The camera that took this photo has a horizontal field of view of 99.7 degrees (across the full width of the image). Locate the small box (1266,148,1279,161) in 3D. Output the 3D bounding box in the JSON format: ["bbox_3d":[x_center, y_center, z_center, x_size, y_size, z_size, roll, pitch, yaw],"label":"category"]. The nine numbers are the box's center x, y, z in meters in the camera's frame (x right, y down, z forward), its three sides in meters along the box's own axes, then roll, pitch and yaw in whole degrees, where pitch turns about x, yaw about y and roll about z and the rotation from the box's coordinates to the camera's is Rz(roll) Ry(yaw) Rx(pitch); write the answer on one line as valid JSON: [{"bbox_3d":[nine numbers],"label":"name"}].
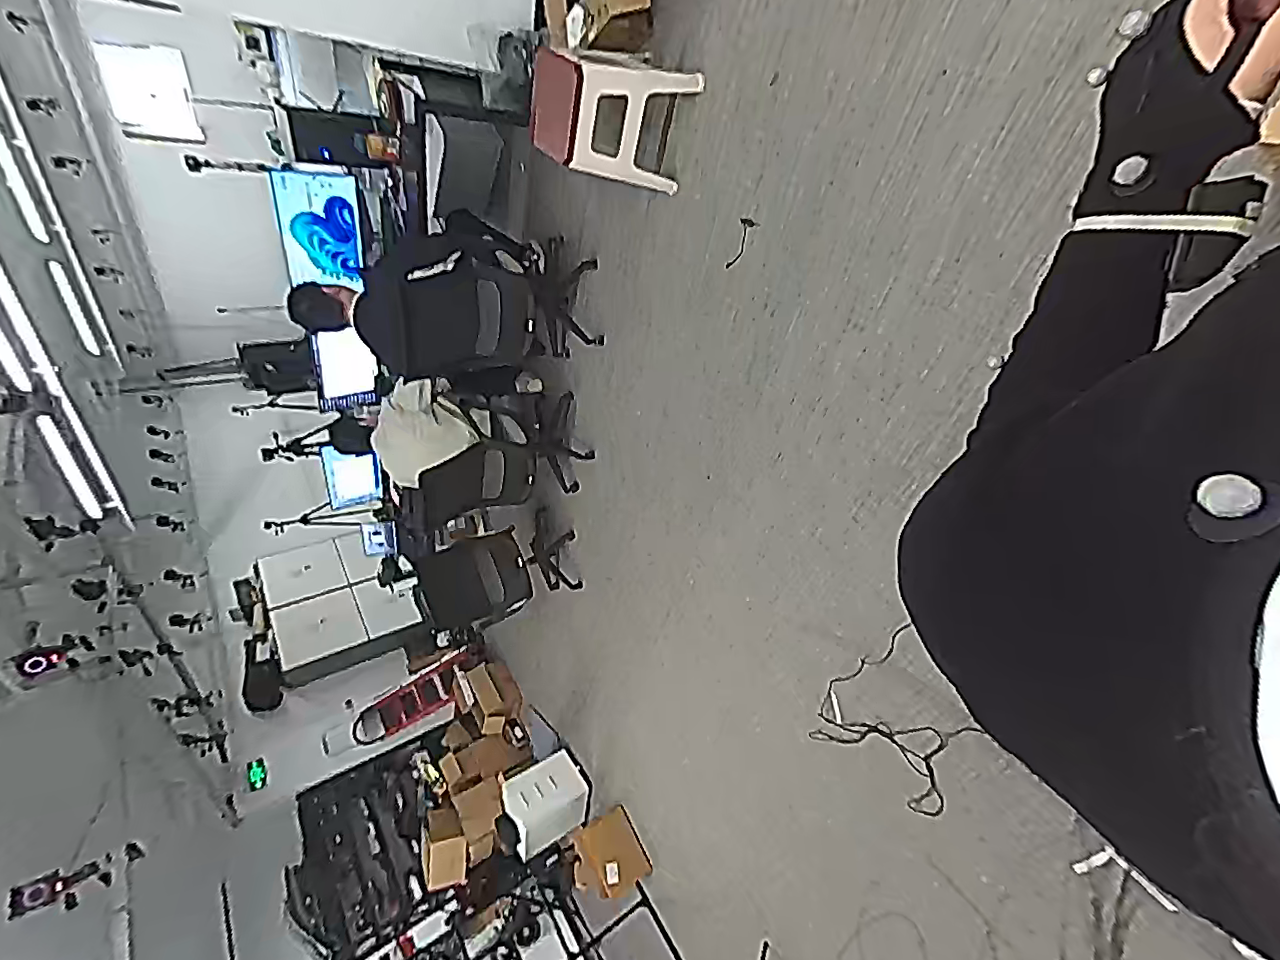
[{"bbox_3d":[1.102,-0.548,0.794,0.168,0.176,0.179,45,138,36],"label":"small box"}]

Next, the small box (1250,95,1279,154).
[{"bbox_3d":[0.973,-0.517,0.701,0.168,0.176,0.179,42,133,37],"label":"small box"}]
